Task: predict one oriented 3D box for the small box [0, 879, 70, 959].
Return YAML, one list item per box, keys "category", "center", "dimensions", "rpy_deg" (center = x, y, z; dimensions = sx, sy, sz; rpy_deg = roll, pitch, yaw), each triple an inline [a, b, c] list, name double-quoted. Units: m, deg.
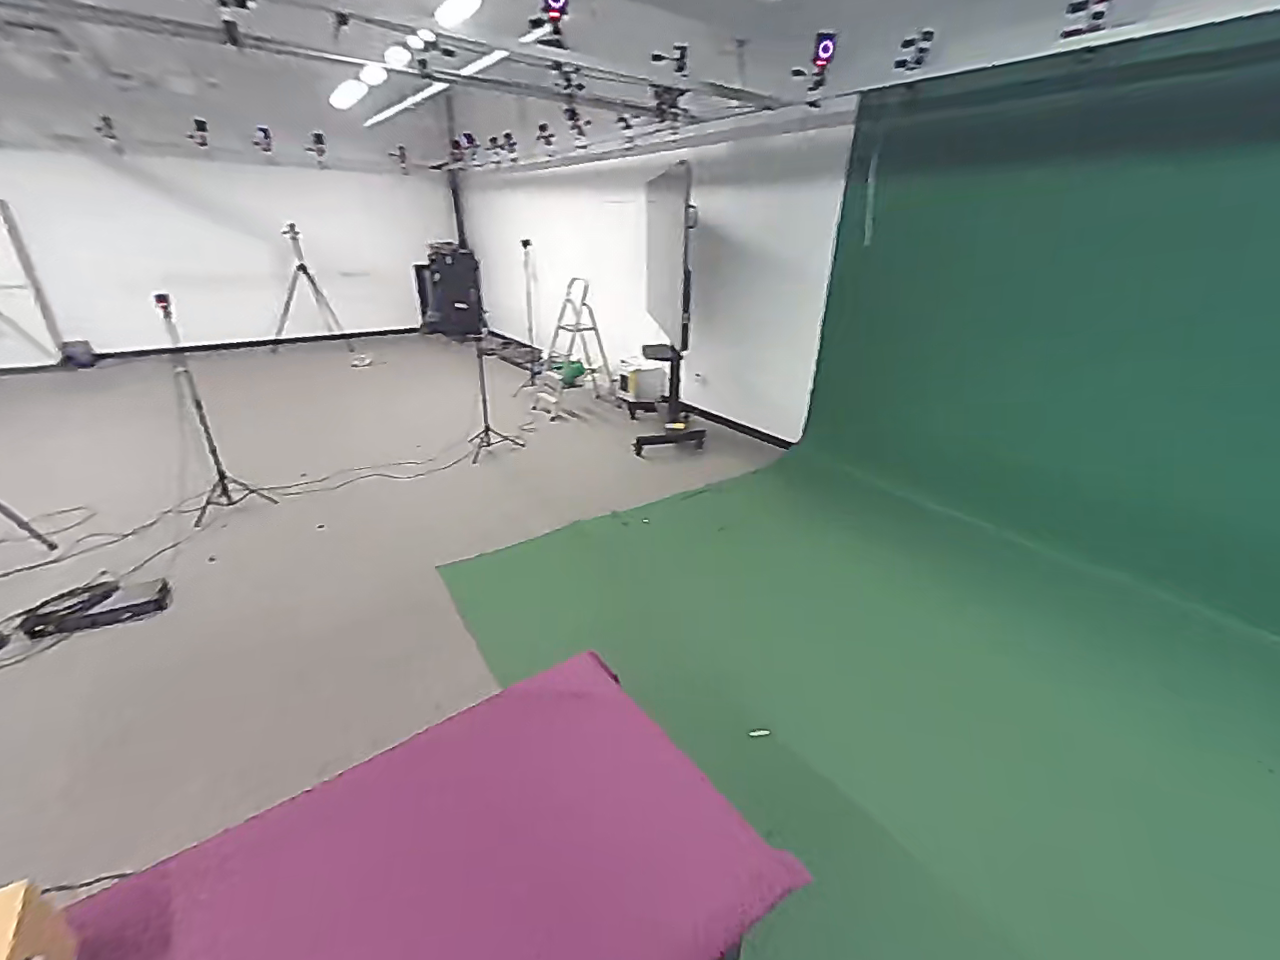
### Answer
- category: "small box"
  center: [-0.845, 0.654, 0.654]
  dimensions: [0.168, 0.176, 0.179]
  rpy_deg: [-15, 32, -33]
